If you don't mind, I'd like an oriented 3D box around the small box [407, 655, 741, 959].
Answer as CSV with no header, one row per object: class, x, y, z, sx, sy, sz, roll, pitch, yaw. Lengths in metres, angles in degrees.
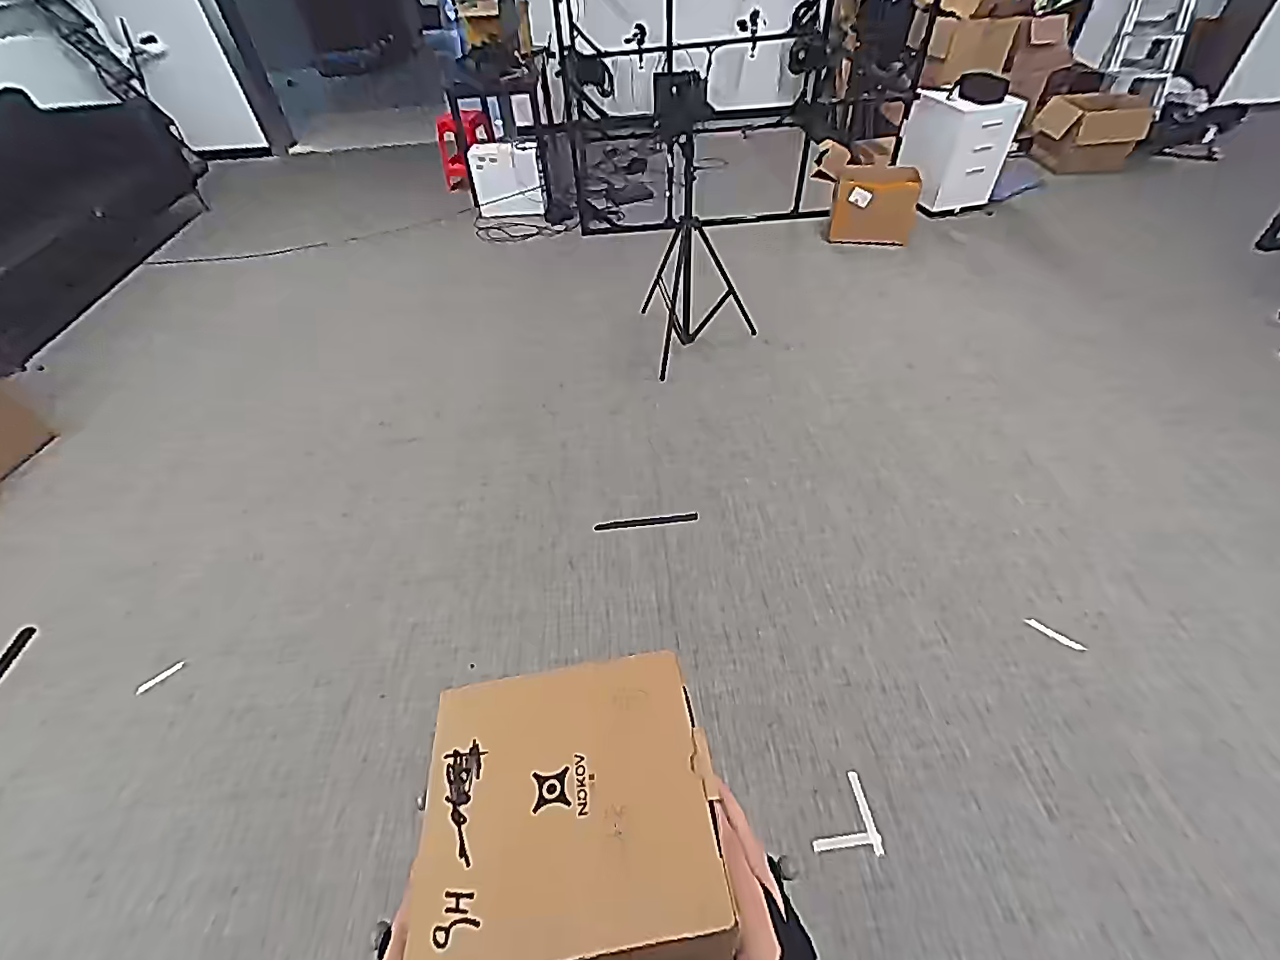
small box,-0.040,0.253,0.386,0.179,0.176,0.168,-8,40,-4
